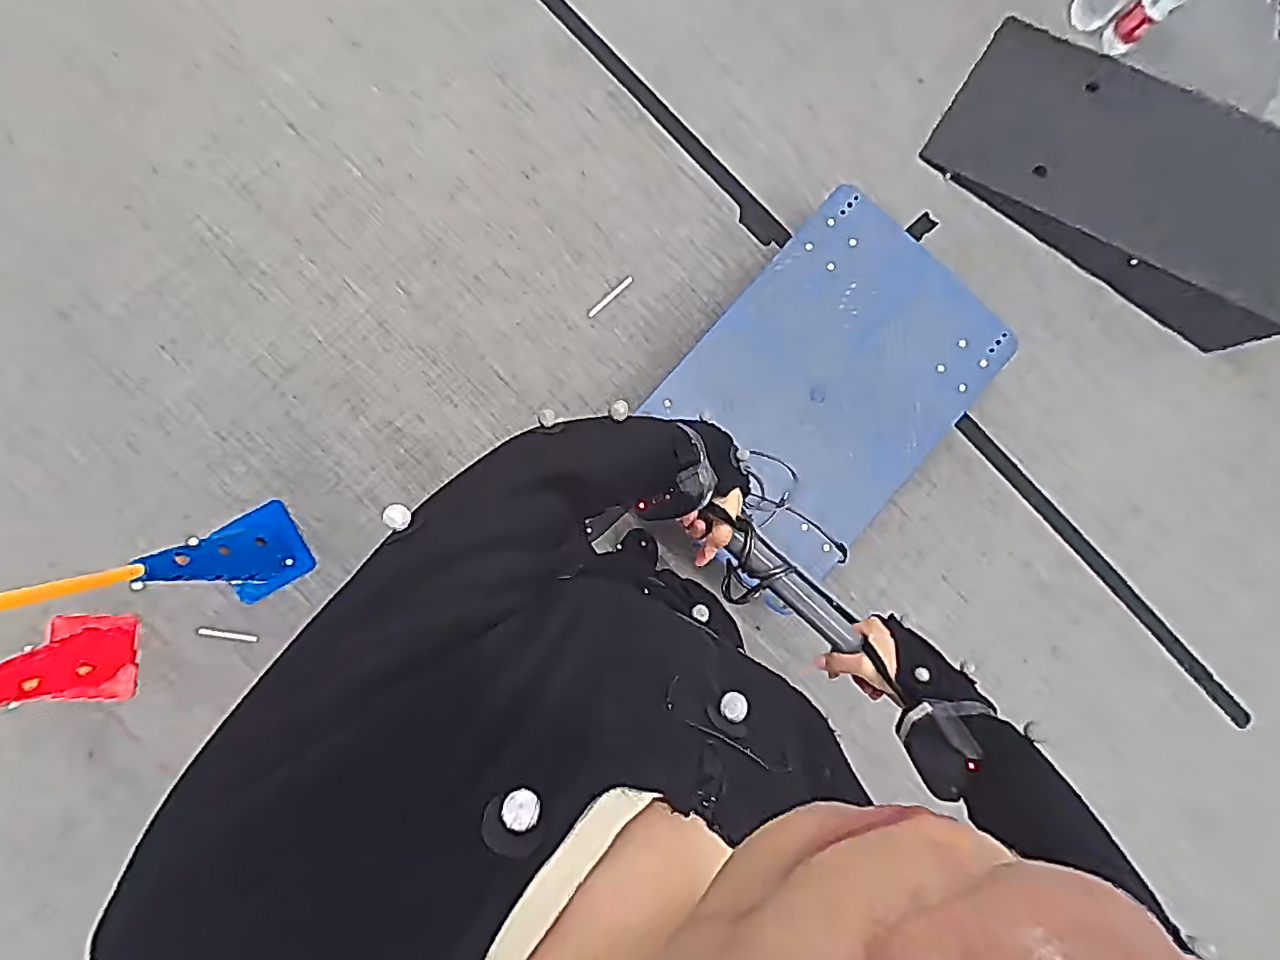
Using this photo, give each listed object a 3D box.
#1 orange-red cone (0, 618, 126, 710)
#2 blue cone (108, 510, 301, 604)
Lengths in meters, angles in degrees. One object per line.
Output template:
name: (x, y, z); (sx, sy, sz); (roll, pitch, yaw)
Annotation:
orange-red cone: (-1.296, 0.418, 1.094); (0.199, 0.360, 0.198); (2, 88, -5)
blue cone: (-0.925, 0.178, 1.142); (0.192, 0.380, 0.193); (-28, 90, -4)
